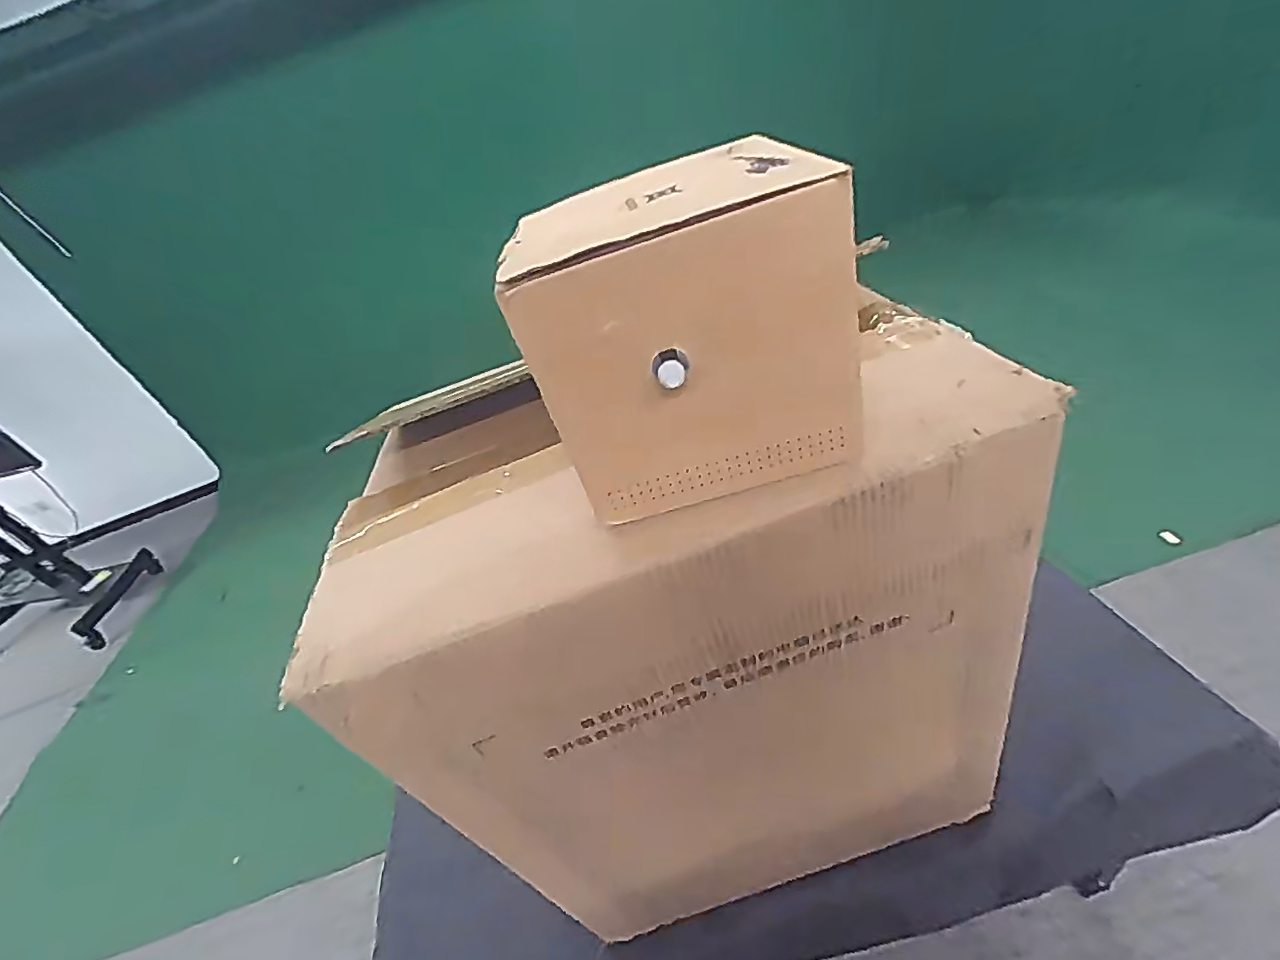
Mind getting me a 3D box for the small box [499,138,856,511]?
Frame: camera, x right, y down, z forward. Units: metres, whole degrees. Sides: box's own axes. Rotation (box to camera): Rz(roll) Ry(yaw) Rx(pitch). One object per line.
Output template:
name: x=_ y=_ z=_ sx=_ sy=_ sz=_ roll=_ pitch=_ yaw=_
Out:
small box: x=0.029 y=-0.102 z=0.367 sx=0.179 sy=0.176 sz=0.168 roll=-16 pitch=37 yaw=6
